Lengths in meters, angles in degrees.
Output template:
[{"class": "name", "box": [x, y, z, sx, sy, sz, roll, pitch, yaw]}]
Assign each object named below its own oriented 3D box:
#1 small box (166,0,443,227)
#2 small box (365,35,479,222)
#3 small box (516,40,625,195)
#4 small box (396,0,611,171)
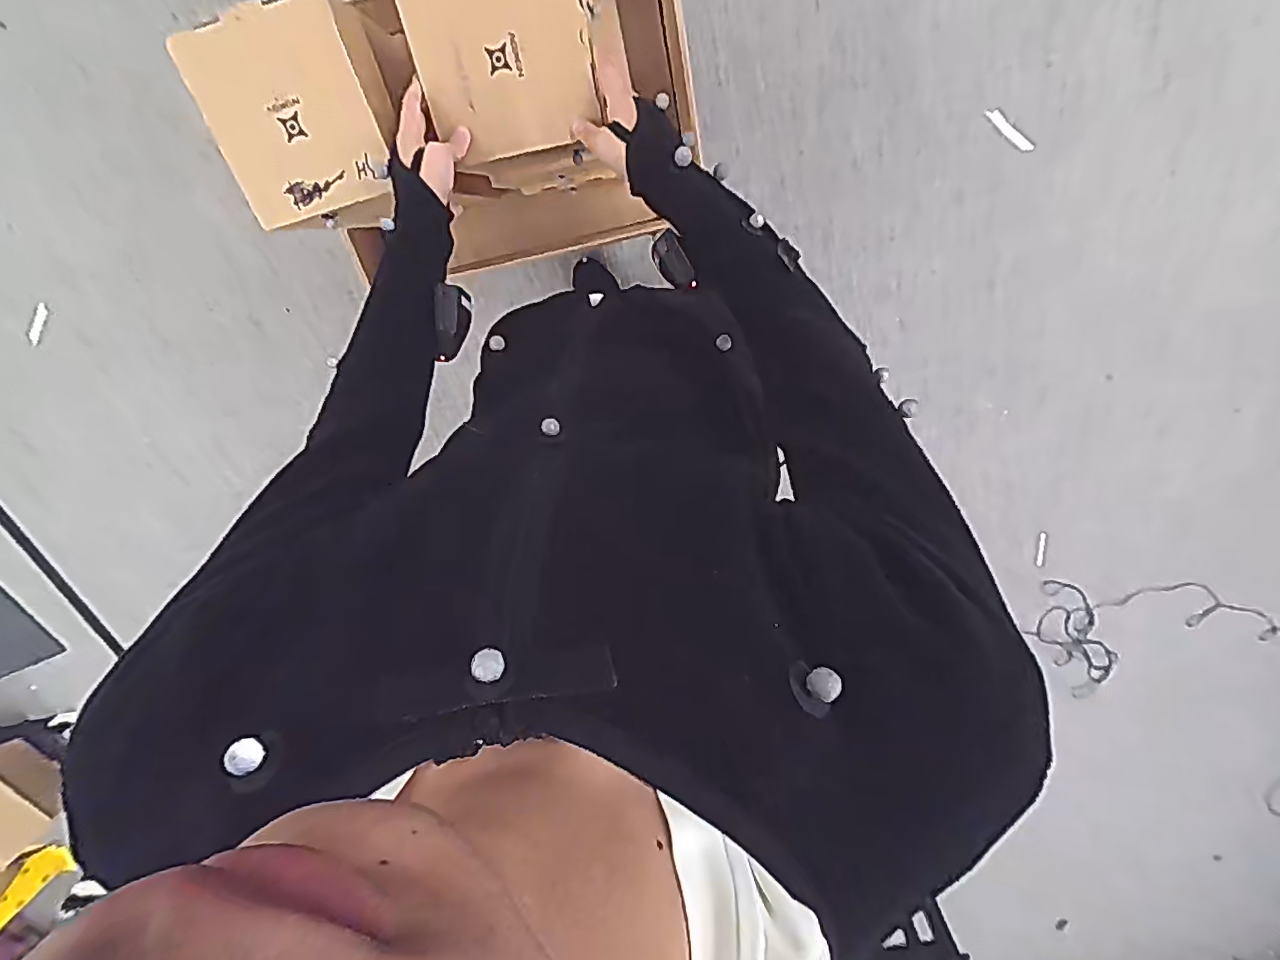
[{"class": "small box", "box": [-0.352, -0.398, 0.610, 0.168, 0.176, 0.179, -13, 115, 6]}, {"class": "small box", "box": [-0.348, -0.473, 0.758, 0.168, 0.176, 0.179, -14, 116, 6]}, {"class": "small box", "box": [-0.121, -0.583, 0.893, 0.168, 0.176, 0.179, -8, 117, 6]}, {"class": "small box", "box": [-0.132, -0.450, 0.595, 0.179, 0.176, 0.168, -8, 117, 7]}]
